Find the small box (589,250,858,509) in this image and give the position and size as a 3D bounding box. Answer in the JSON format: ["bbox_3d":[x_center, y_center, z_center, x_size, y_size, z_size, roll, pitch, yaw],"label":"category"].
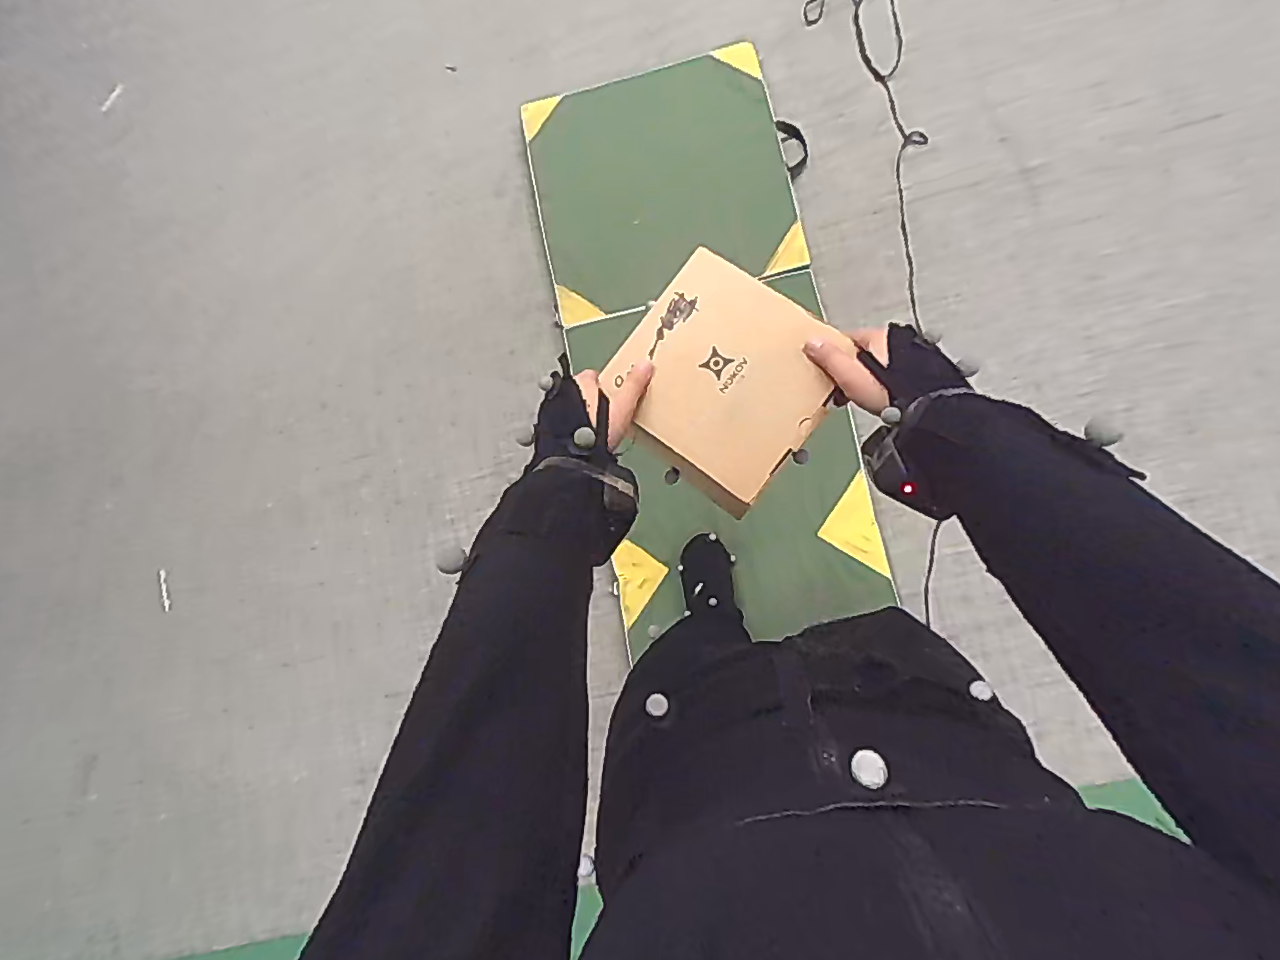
[{"bbox_3d":[0.080,-0.084,0.547,0.179,0.176,0.168,37,87,11],"label":"small box"}]
